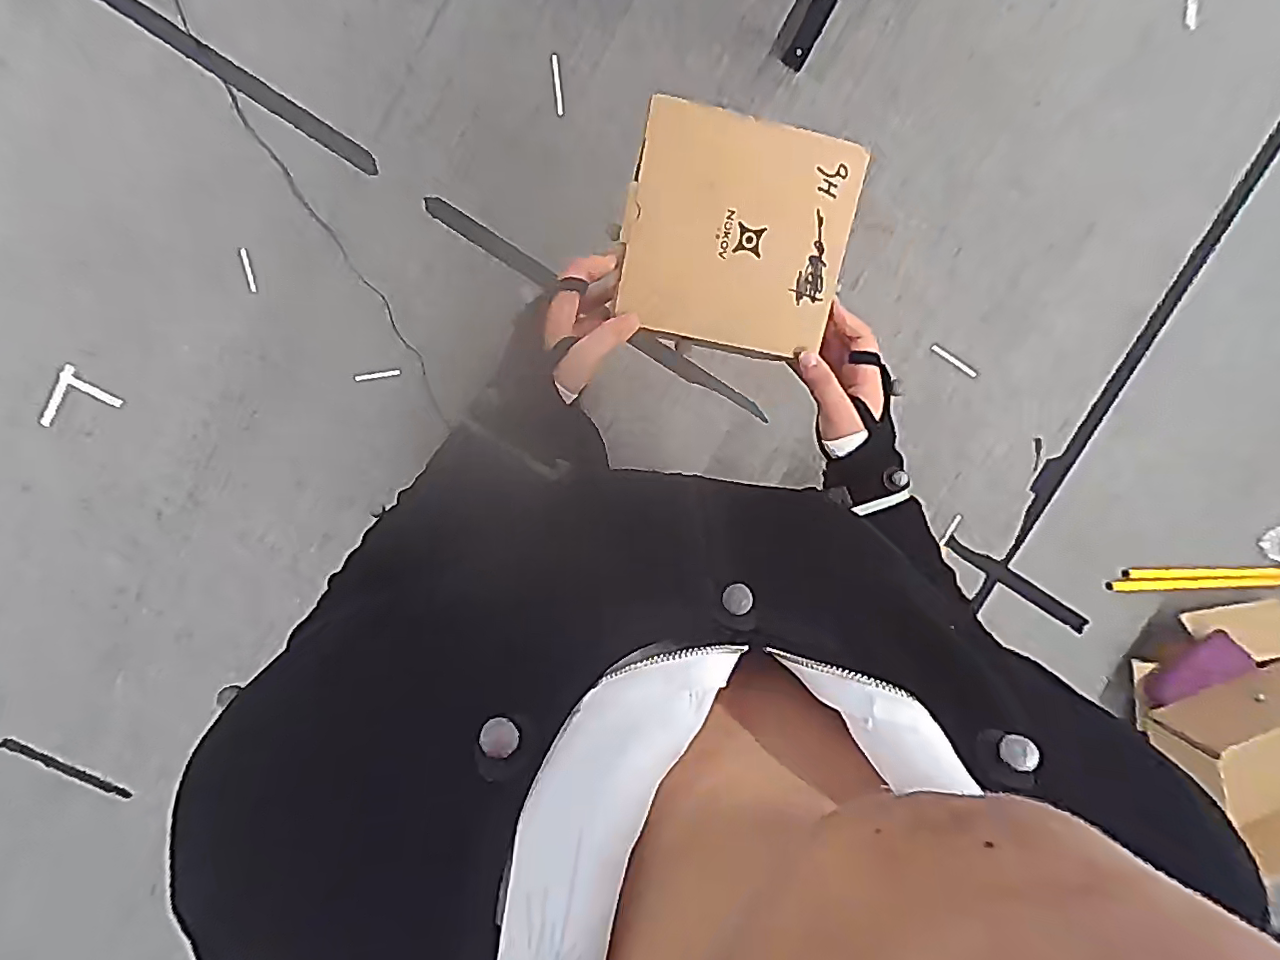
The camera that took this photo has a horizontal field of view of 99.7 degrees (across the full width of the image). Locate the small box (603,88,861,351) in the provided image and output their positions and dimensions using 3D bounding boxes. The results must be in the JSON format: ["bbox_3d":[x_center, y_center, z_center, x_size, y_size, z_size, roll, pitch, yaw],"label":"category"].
[{"bbox_3d":[0.065,-0.216,0.499,0.179,0.176,0.168,9,103,-6],"label":"small box"}]
